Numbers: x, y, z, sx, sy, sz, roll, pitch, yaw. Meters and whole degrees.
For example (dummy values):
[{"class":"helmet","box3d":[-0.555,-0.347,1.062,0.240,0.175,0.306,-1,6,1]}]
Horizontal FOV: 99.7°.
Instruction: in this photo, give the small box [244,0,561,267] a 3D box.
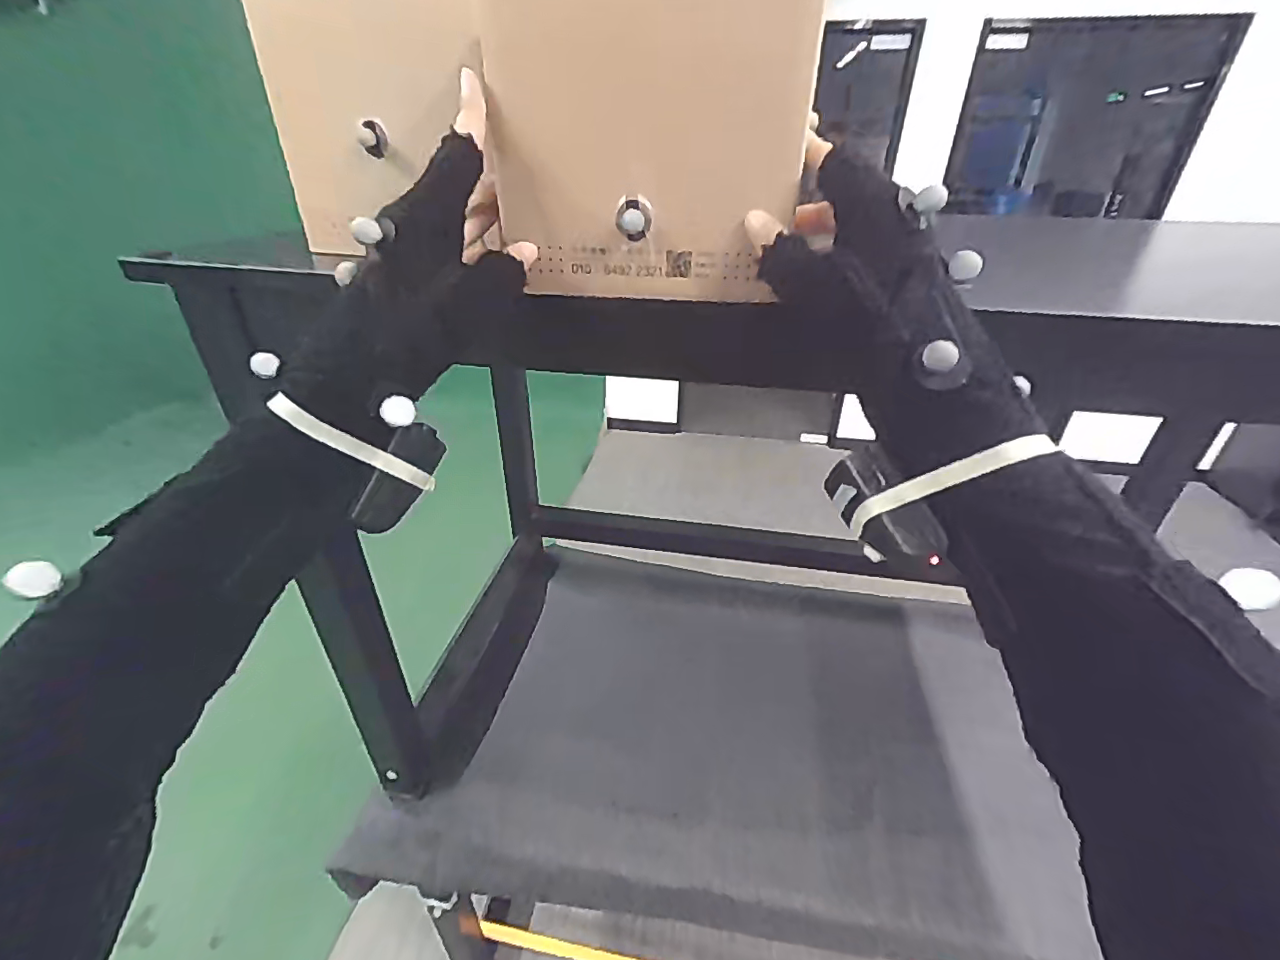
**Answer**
[{"class":"small box","box3d":[-0.169,-0.283,0.456,0.168,0.176,0.179,7,31,8]}]
